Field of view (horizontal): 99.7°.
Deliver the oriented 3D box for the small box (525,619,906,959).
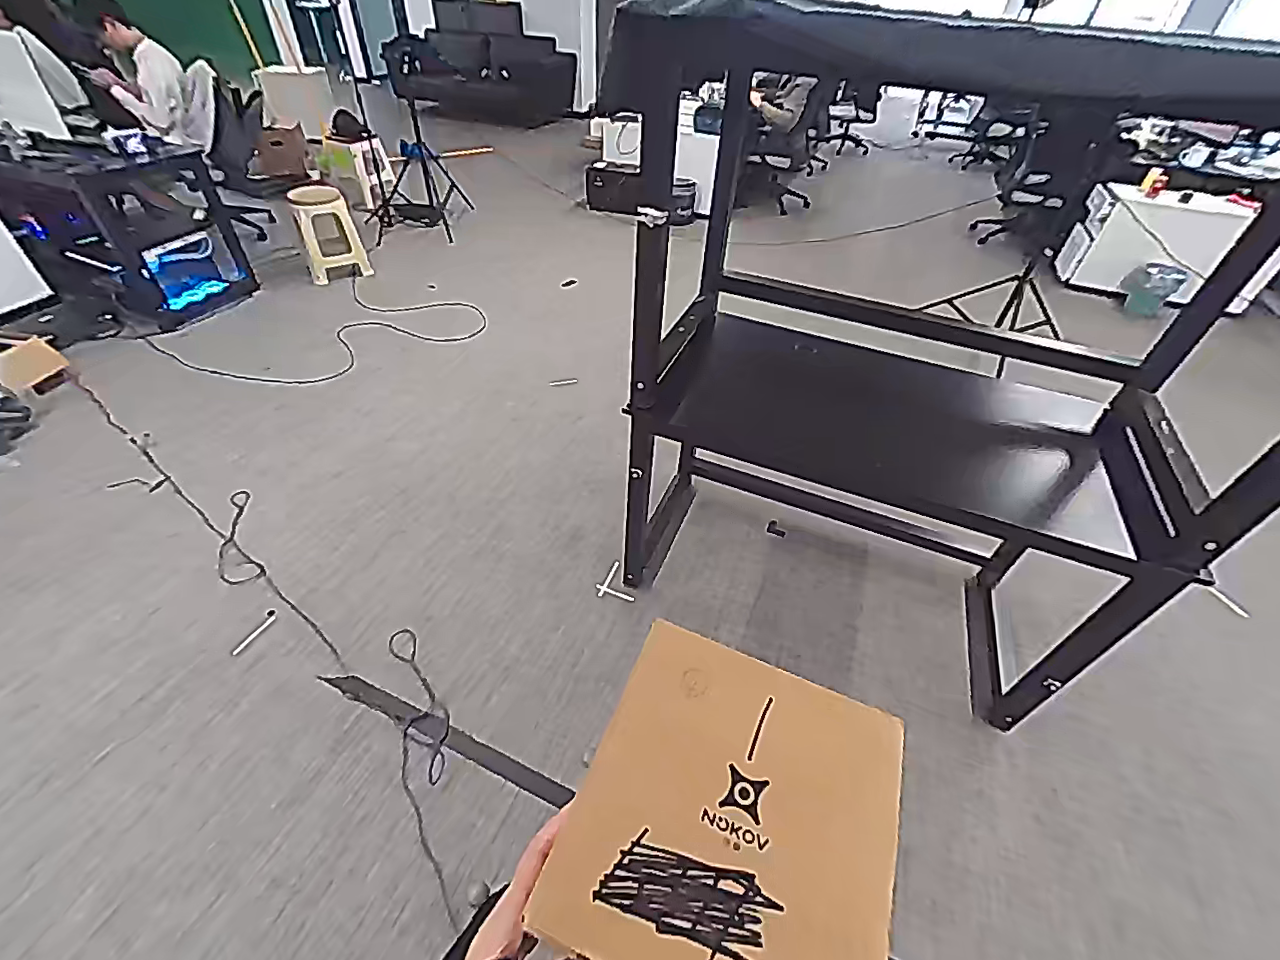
[{"bbox_3d":[0.047,0.230,0.349,0.168,0.176,0.179,20,48,12],"label":"small box"}]
